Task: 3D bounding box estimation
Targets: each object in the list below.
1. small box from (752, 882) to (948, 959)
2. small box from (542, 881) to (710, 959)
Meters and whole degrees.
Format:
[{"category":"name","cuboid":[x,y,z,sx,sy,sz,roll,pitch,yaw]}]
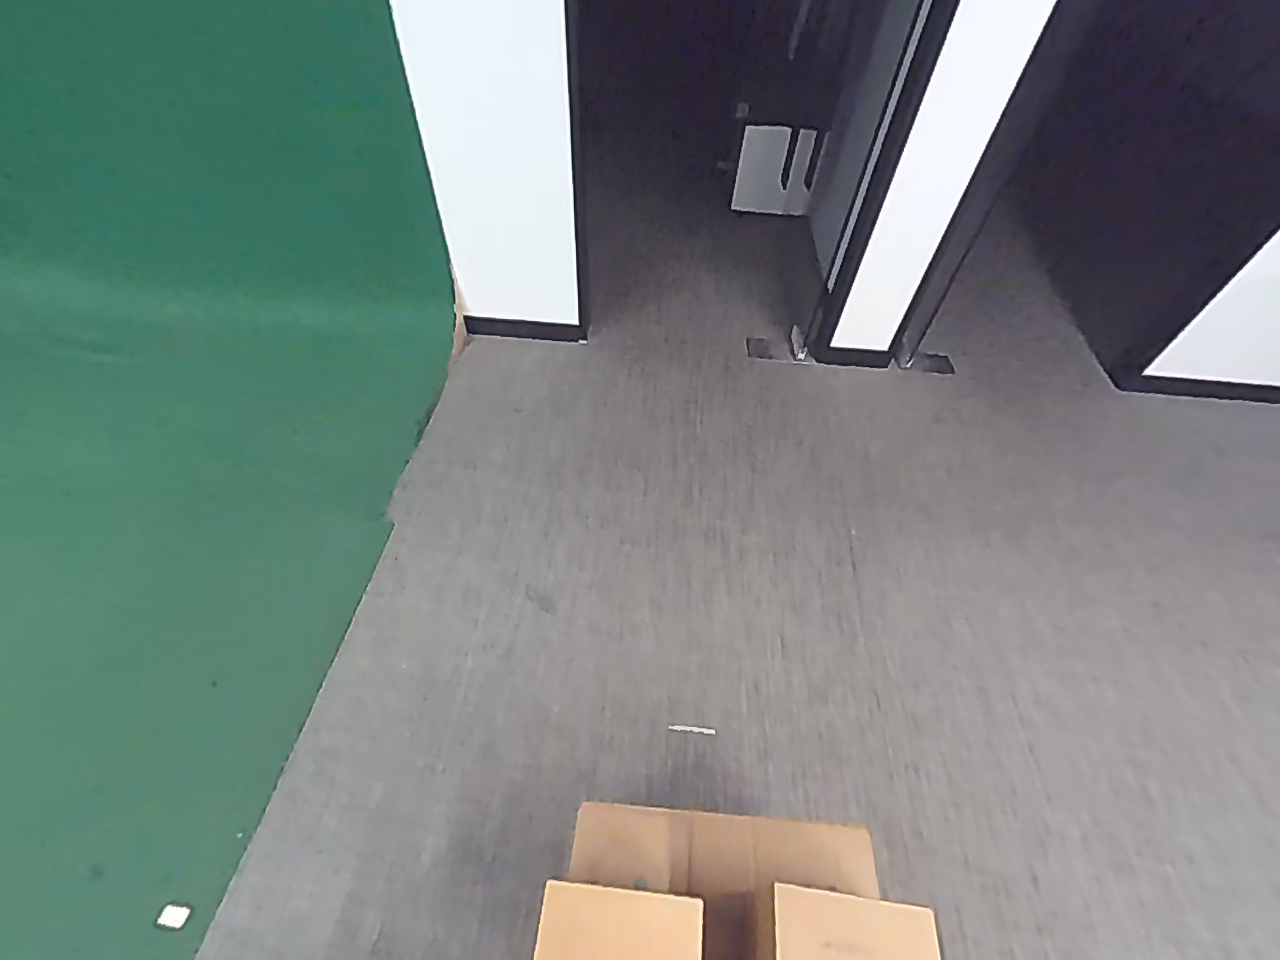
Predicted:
[{"category":"small box","cuboid":[0.213,0.551,0.568,0.168,0.176,0.179,7,49,4]},{"category":"small box","cuboid":[-0.024,0.540,0.566,0.168,0.176,0.179,7,52,0]}]
